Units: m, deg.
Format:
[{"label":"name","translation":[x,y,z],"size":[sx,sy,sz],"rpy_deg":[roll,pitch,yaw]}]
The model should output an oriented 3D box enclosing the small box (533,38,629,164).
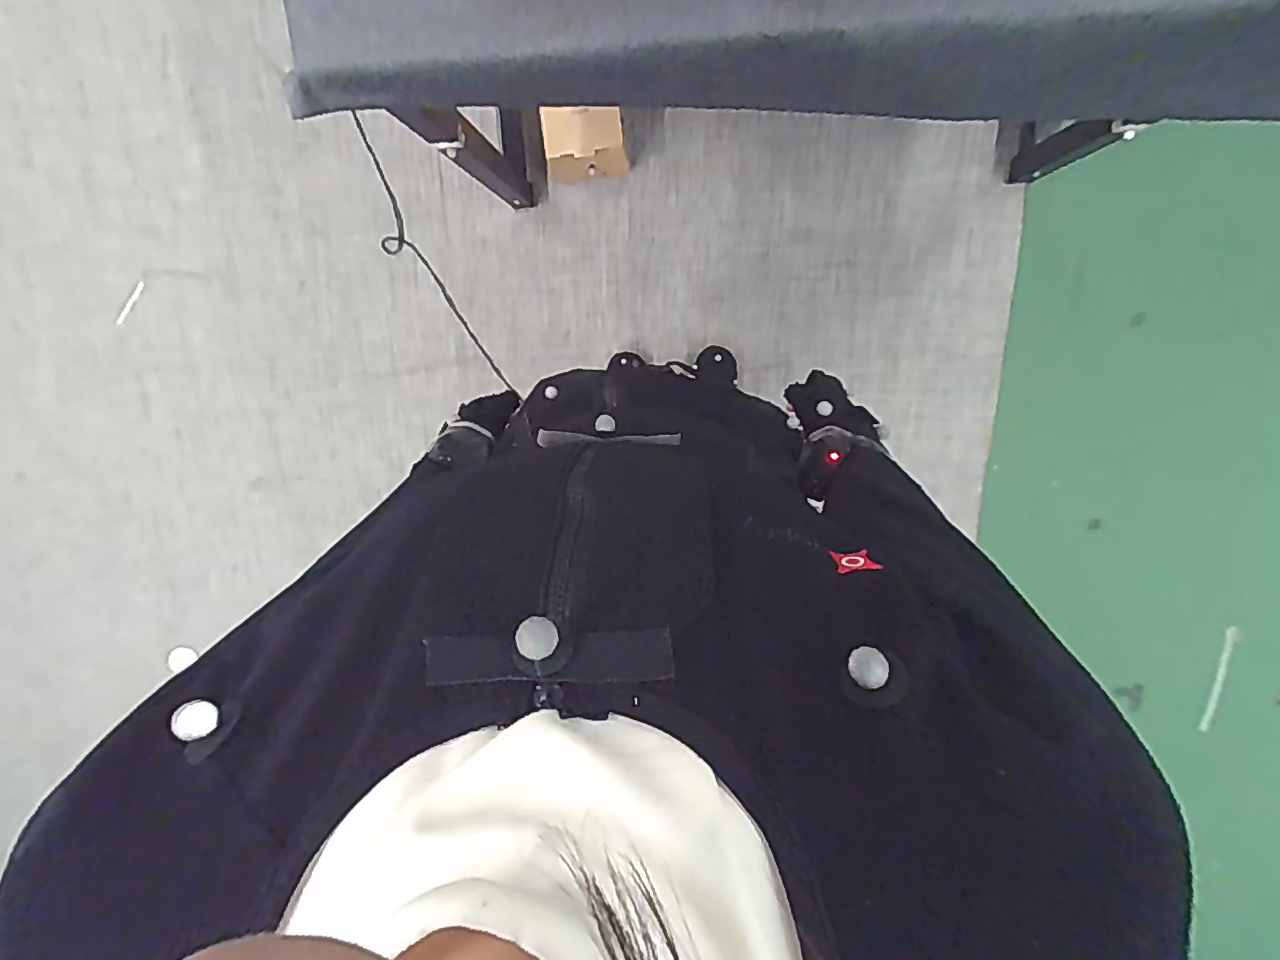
[{"label":"small box","translation":[-0.118,-0.800,1.165],"size":[0.168,0.176,0.179],"rpy_deg":[-5,105,5]}]
